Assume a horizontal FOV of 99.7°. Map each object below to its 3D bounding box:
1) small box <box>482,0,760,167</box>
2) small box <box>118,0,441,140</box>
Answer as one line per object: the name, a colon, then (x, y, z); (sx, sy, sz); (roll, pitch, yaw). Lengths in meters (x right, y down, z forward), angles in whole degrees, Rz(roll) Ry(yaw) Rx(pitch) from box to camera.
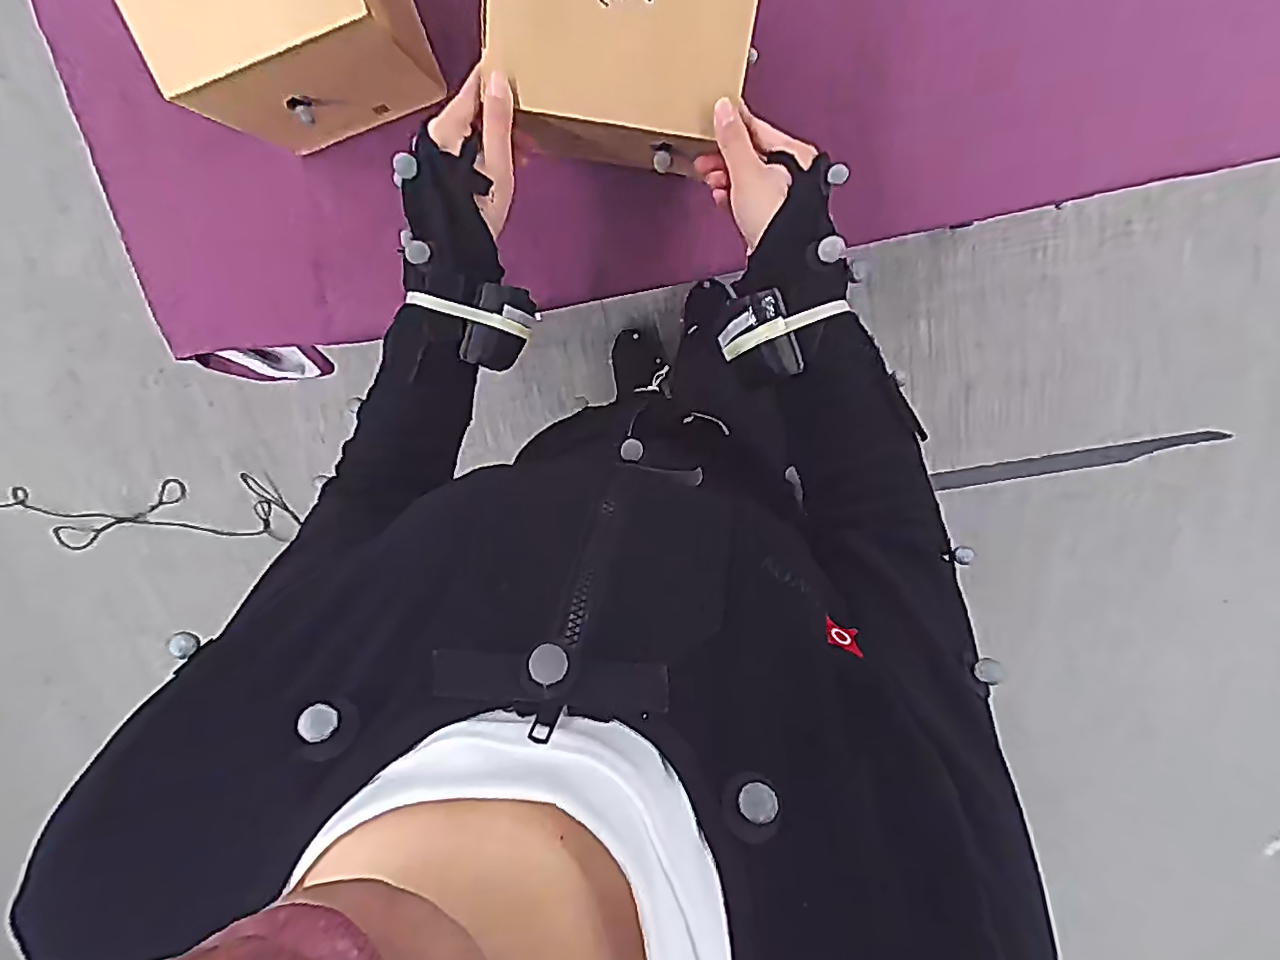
small box: (-0.008, -0.351, 0.410); (0.179, 0.176, 0.168); (8, 111, -2)
small box: (-0.290, -0.403, 0.433); (0.168, 0.176, 0.179); (-18, 106, 6)
